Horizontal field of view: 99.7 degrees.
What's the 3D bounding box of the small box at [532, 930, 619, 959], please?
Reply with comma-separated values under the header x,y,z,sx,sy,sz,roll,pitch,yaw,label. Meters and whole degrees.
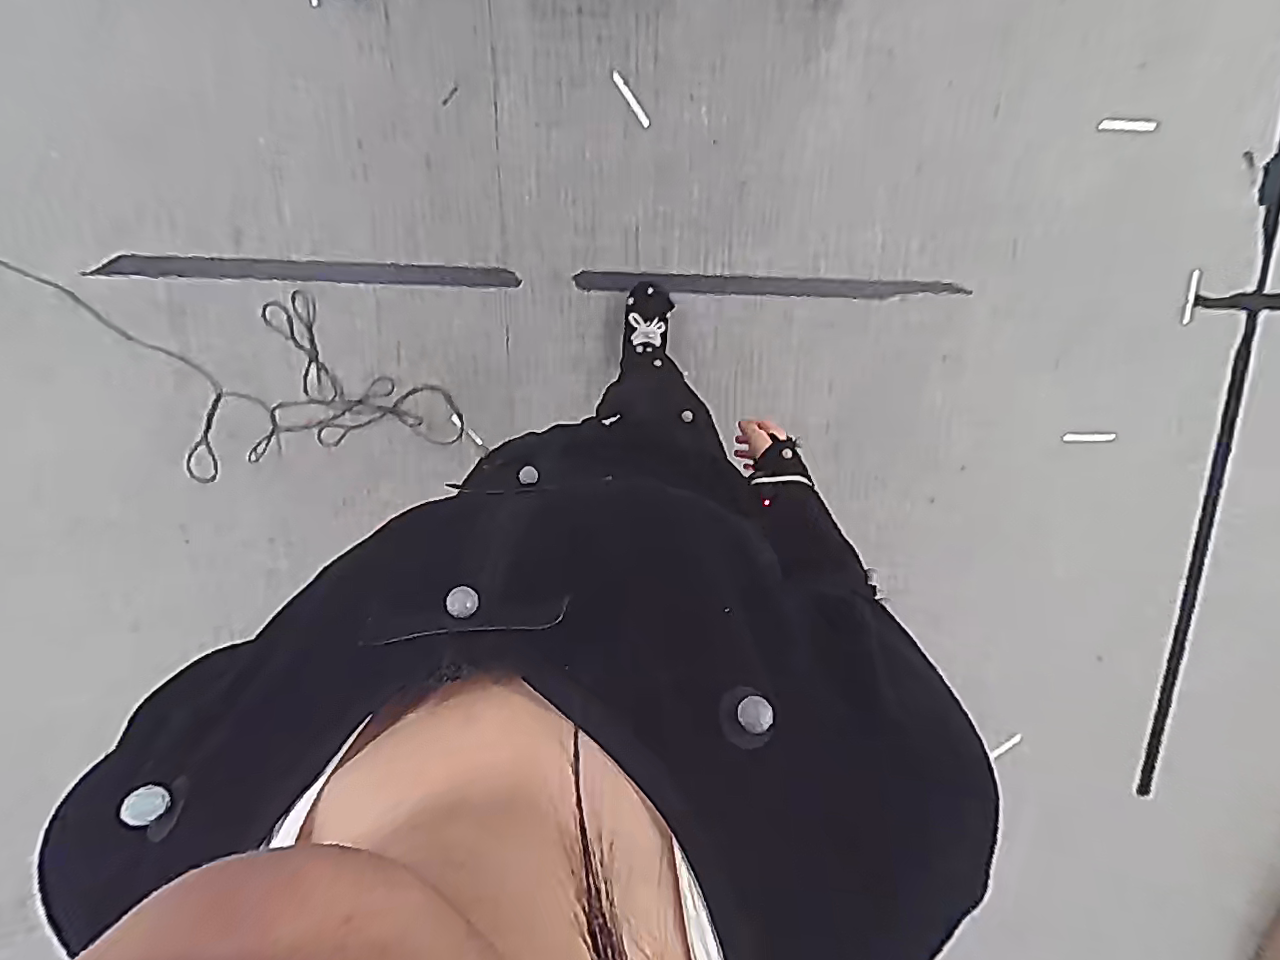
x,y,z,sx,sy,sz,roll,pitch,yaw,label
-0.124,0.980,1.002,0.168,0.176,0.179,3,103,-5,small box
